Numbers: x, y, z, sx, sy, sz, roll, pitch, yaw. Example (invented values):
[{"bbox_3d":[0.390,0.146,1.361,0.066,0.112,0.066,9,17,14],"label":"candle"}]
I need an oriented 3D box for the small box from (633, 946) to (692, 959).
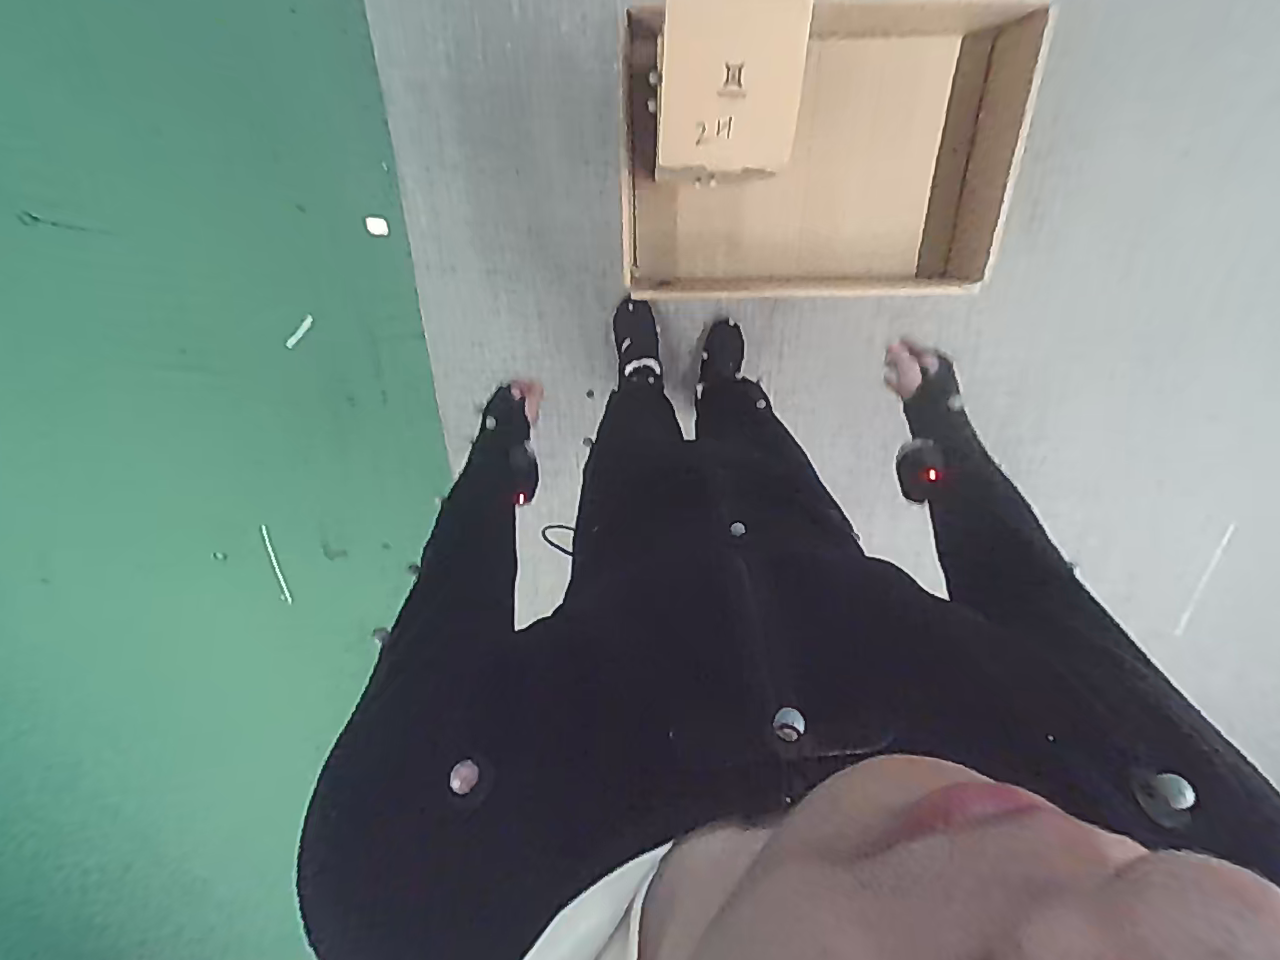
[{"bbox_3d":[0.066,1.399,1.458,0.168,0.176,0.179,-3,116,1],"label":"small box"}]

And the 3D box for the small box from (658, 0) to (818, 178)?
[{"bbox_3d":[0.112,-0.503,0.703,0.168,0.176,0.179,3,116,-1],"label":"small box"}]

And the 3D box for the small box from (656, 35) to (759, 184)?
[{"bbox_3d":[0.112,-0.574,0.851,0.168,0.176,0.179,1,116,0],"label":"small box"}]
